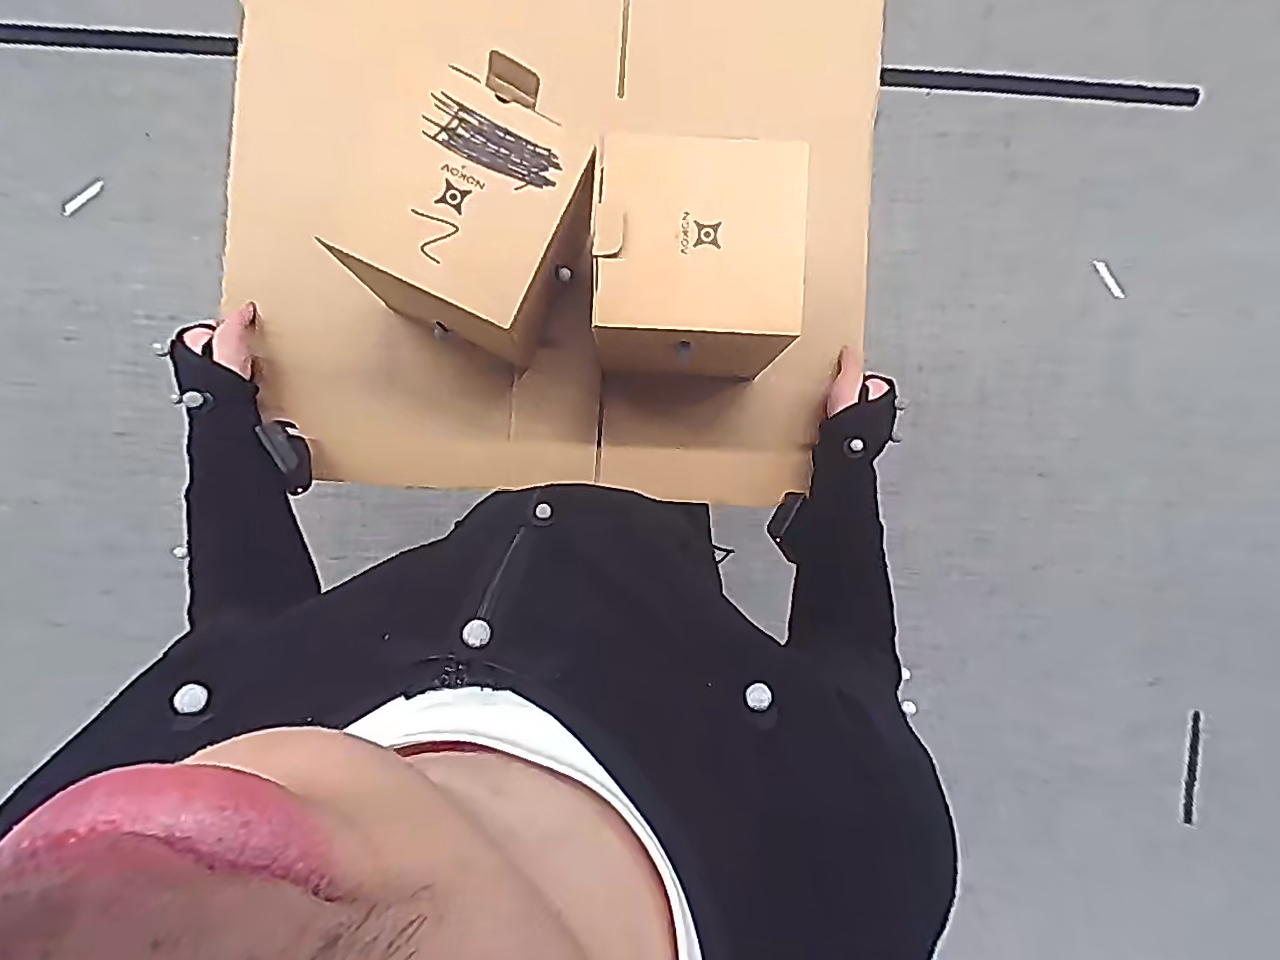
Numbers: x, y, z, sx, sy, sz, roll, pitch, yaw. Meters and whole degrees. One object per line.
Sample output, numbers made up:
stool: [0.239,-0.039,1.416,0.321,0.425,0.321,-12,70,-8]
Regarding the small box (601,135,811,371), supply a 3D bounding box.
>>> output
small box: [0.056,-0.209,0.543,0.179,0.176,0.168,2,89,0]
